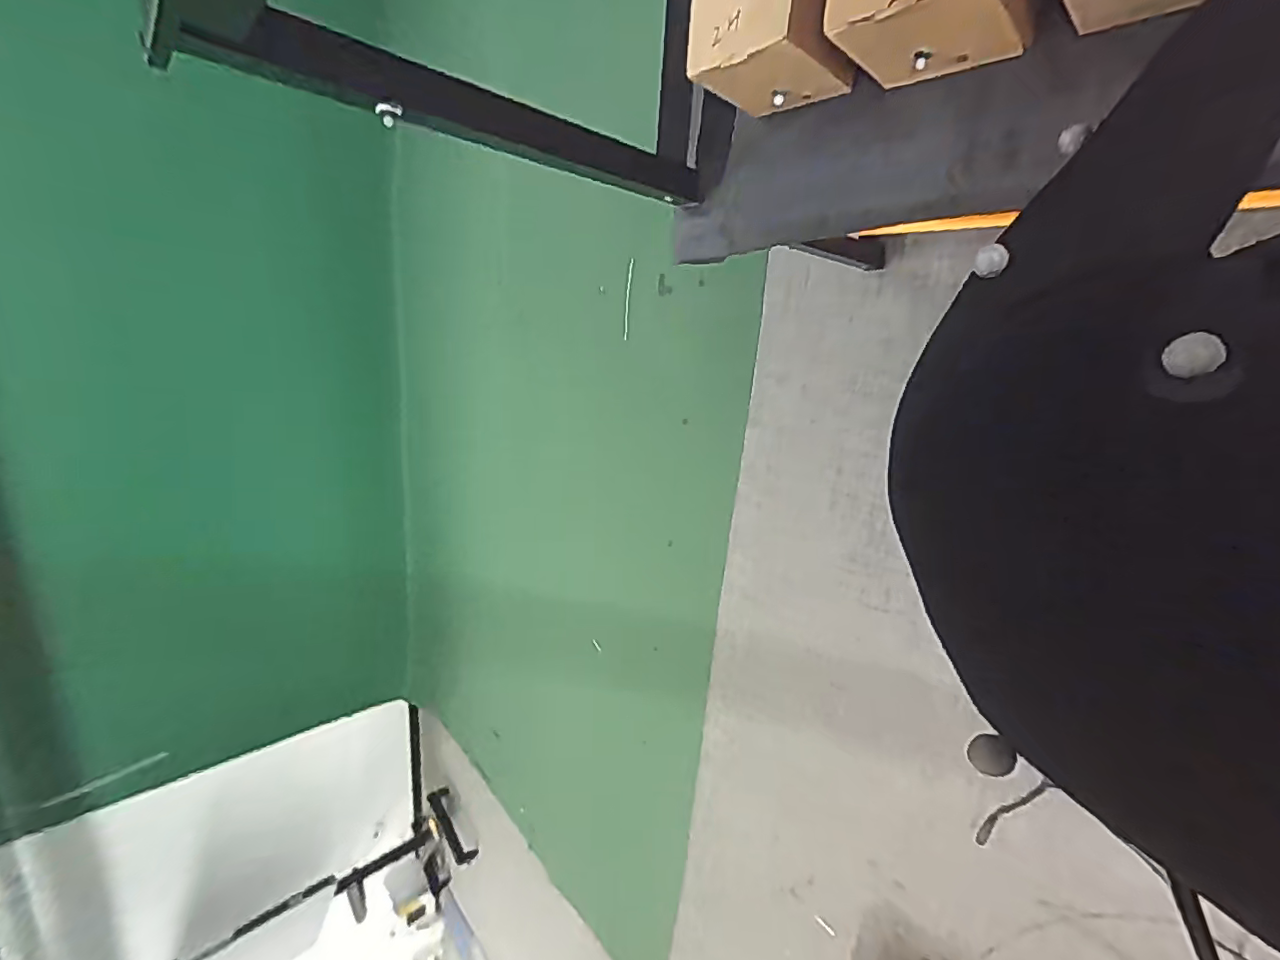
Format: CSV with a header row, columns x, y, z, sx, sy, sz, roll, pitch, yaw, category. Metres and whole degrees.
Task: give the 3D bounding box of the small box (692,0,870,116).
x,y,z,sx,sy,sz,roll,pitch,yaw,category
0.195,-0.635,0.732,0.168,0.176,0.179,20,111,44,small box
